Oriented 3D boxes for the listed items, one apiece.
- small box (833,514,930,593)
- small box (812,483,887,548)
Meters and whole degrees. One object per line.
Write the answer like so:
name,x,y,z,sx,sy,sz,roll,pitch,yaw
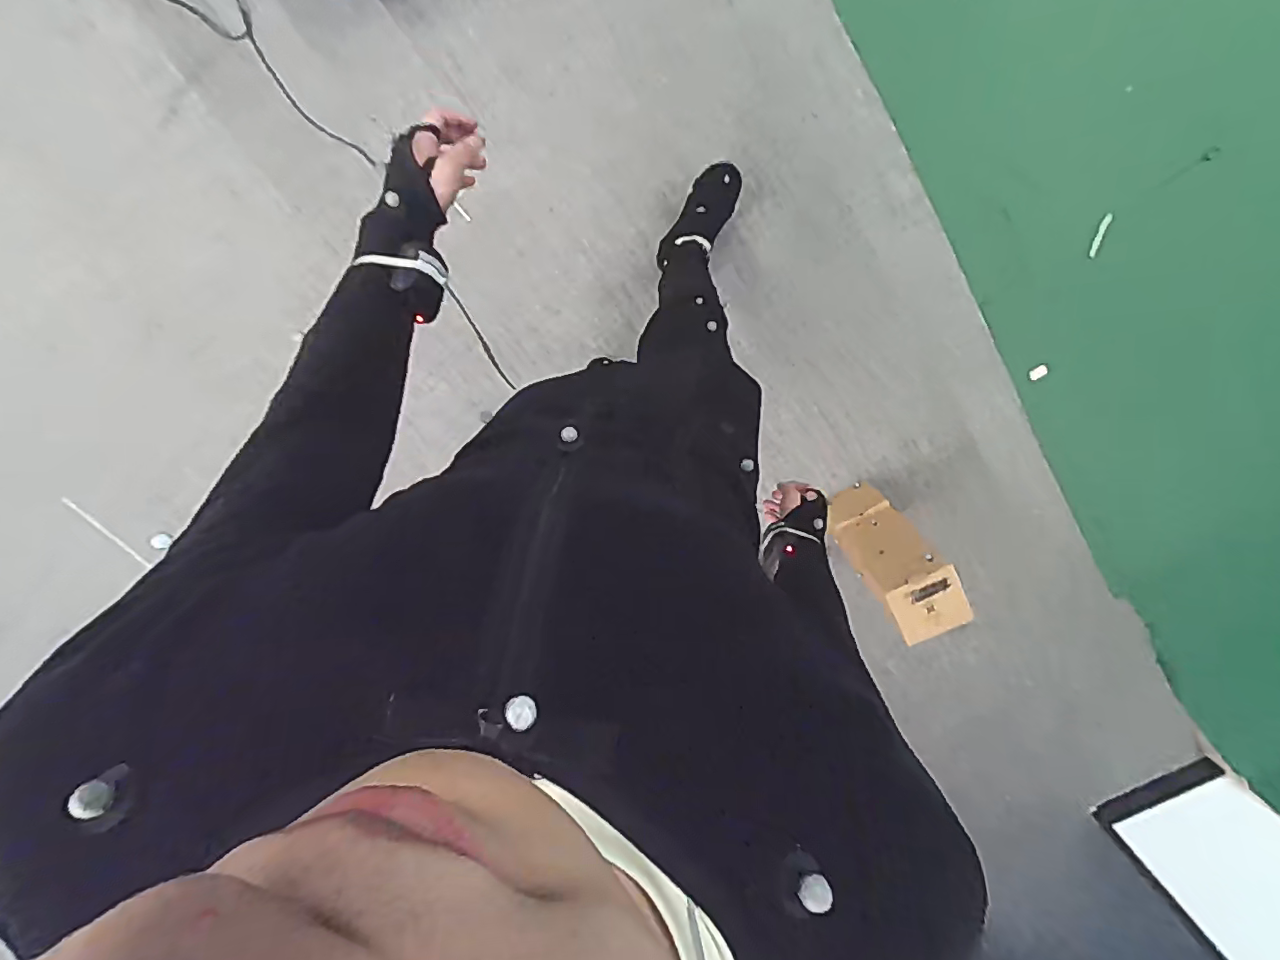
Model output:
small box,0.664,0.197,1.503,0.179,0.176,0.168,1,109,-2
small box,0.648,0.128,1.641,0.168,0.176,0.179,-28,110,10
